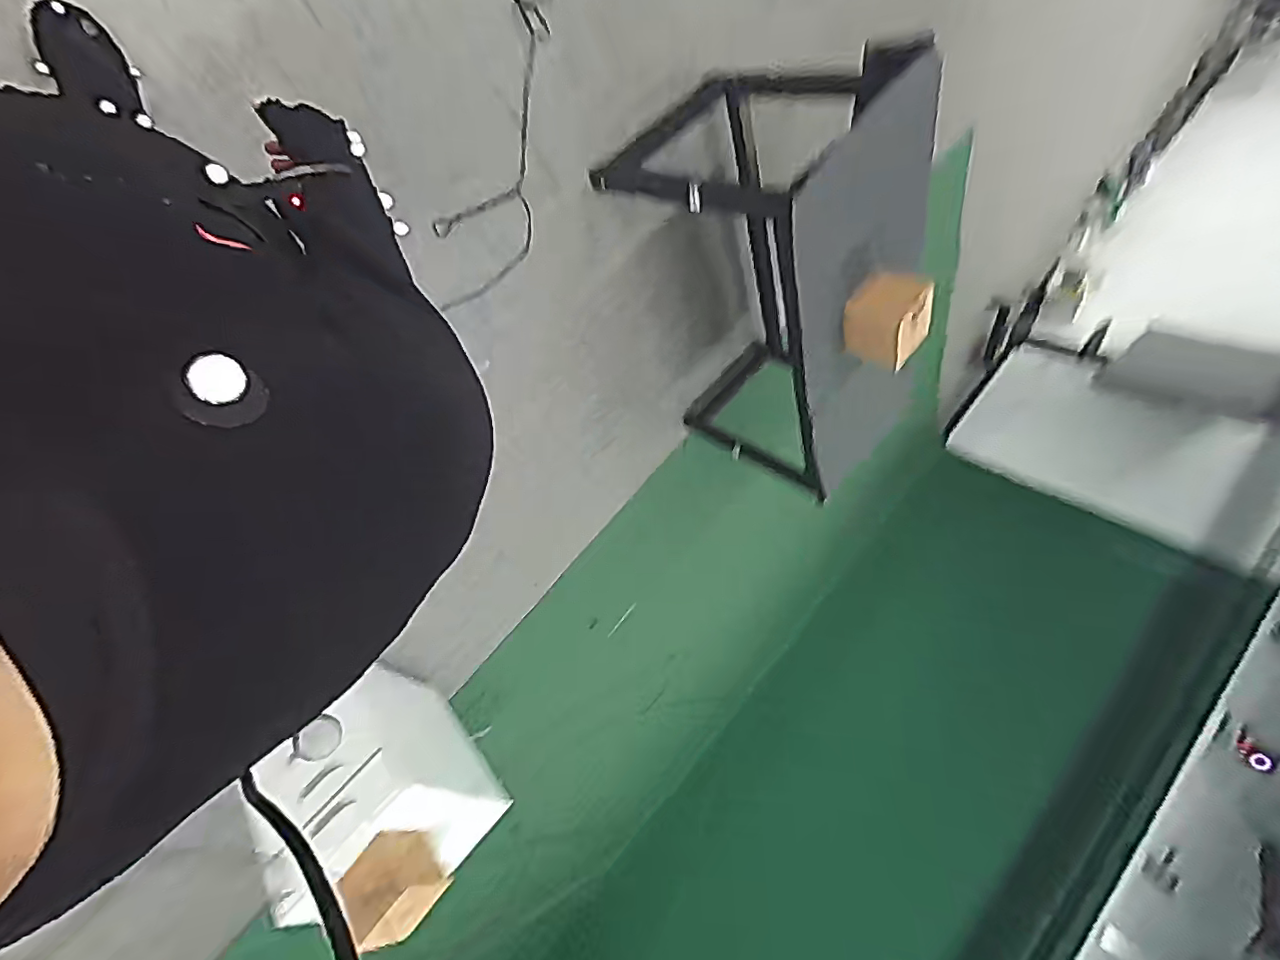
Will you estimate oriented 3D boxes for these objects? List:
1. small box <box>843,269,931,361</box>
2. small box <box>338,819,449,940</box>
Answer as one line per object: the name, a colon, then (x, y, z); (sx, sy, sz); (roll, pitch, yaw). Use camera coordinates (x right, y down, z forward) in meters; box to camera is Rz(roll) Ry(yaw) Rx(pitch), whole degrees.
small box: (0.688, -0.471, 1.522); (0.168, 0.176, 0.179); (-48, 143, -11)
small box: (-0.633, 1.003, 1.374); (0.179, 0.176, 0.168); (-50, 143, -8)
